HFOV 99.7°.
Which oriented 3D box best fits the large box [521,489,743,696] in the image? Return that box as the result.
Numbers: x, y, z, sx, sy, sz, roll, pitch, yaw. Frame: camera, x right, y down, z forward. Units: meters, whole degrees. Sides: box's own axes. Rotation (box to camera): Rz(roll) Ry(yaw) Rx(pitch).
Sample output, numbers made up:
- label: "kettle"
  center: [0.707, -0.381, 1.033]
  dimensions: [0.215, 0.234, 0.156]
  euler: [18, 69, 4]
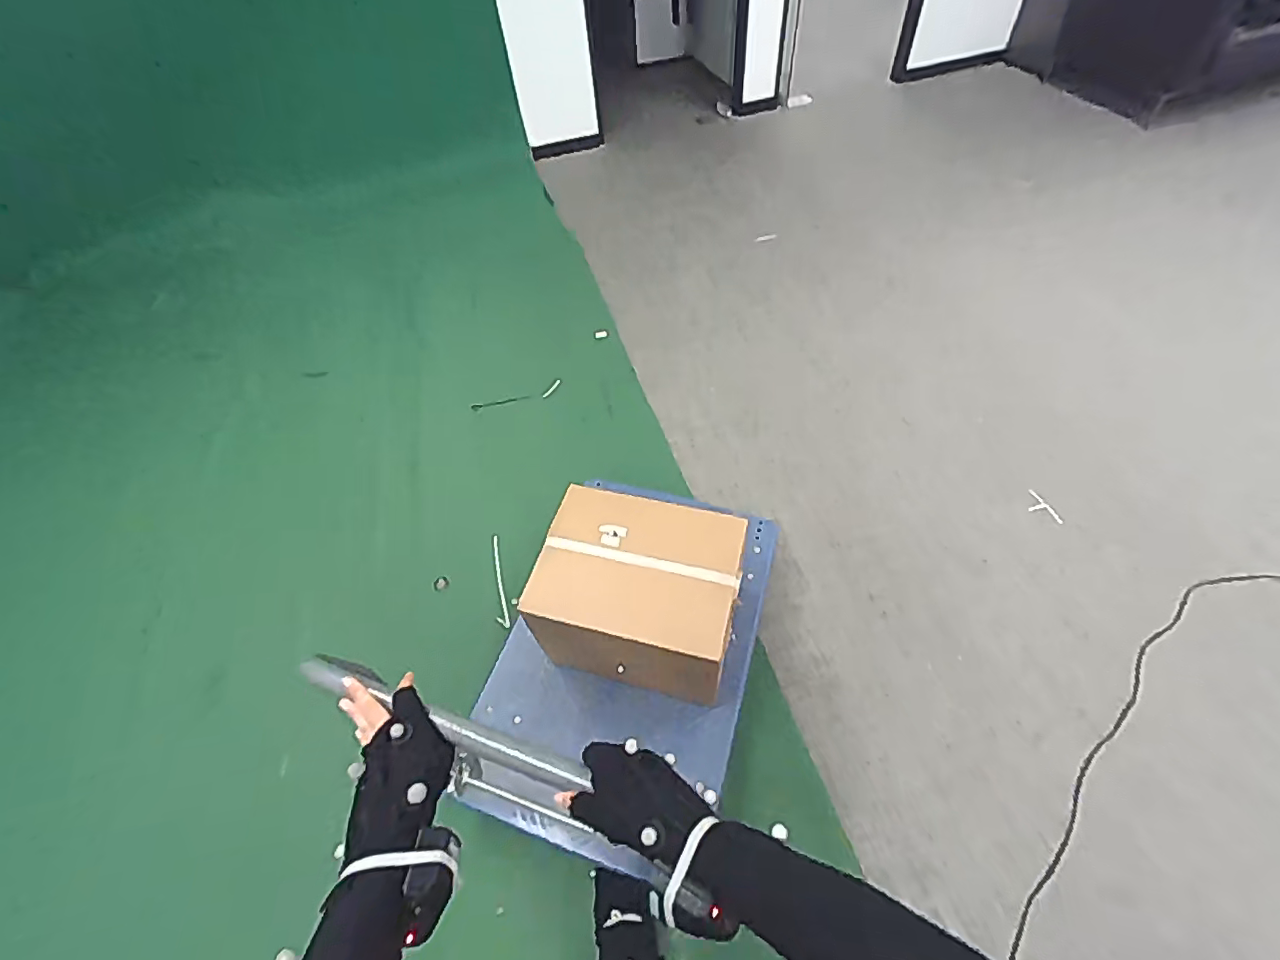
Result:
- label: "large box"
  center: [0.008, 0.256, 1.225]
  dimensions: [0.408, 0.320, 0.320]
  euler: [10, 54, 13]
